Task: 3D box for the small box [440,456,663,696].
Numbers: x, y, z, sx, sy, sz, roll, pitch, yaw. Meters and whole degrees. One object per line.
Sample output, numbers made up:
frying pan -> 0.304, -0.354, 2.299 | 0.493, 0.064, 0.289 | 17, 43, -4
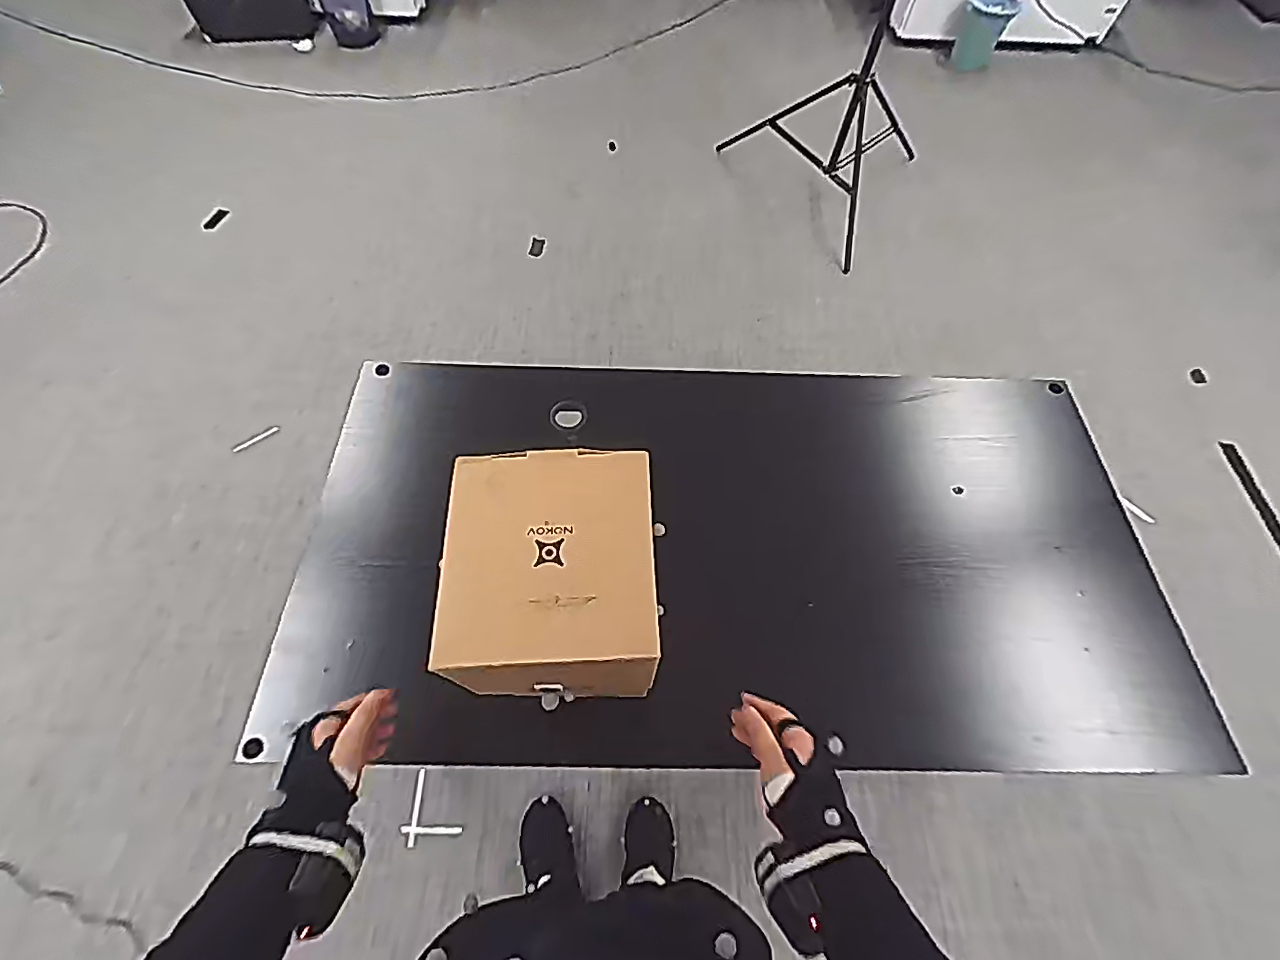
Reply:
small box -> -0.070, 0.095, 0.504 | 0.168, 0.176, 0.179 | -3, 63, -2
